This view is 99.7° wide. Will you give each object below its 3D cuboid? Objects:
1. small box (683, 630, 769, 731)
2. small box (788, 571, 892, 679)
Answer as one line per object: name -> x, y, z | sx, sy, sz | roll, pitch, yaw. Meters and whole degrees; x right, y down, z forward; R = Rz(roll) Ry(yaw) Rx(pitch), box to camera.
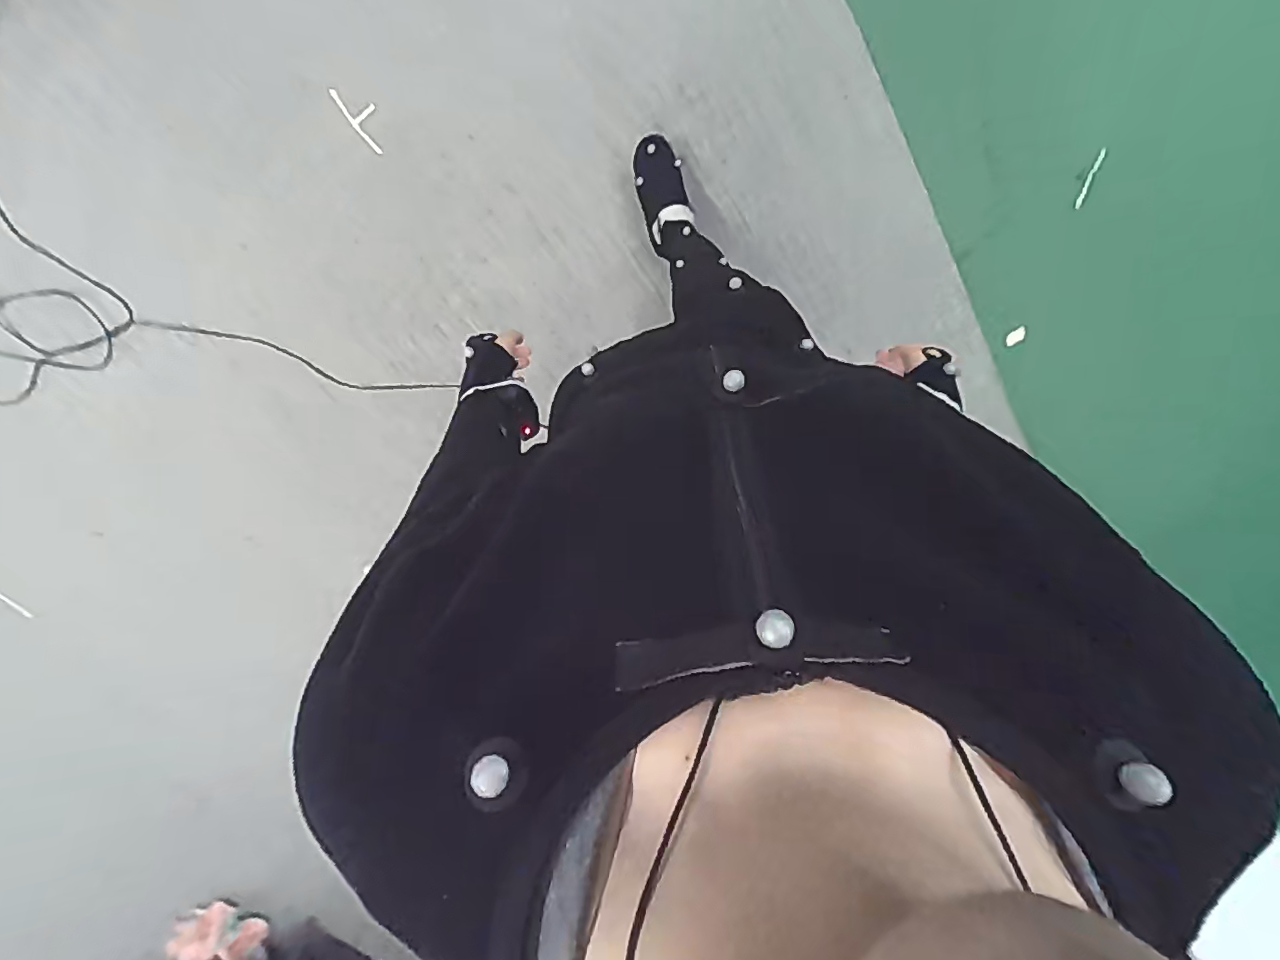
small box -> 0.229, 0.540, 1.476 | 0.179, 0.176, 0.168 | -21, 112, 7
small box -> 0.517, 0.374, 1.414 | 0.168, 0.176, 0.179 | -34, 110, 11
